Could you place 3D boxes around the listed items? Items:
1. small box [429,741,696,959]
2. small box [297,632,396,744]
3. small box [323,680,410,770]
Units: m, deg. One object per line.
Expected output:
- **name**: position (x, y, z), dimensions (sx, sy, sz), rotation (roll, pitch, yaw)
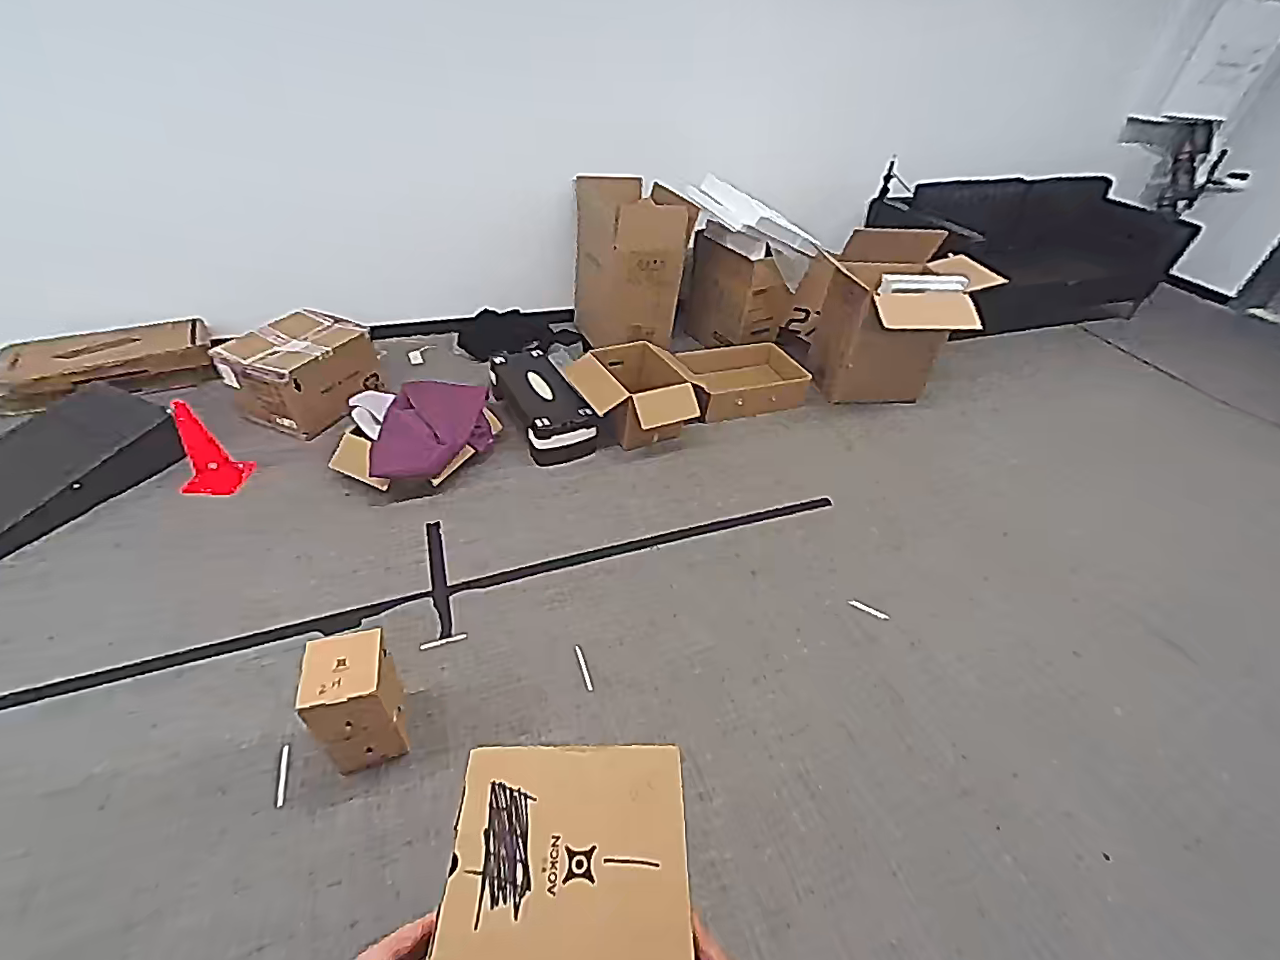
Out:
- **small box**: position (-0.051, 0.335, 0.445), dimensions (0.179, 0.176, 0.168), rotation (0, 41, -2)
- **small box**: position (-0.692, 0.497, 1.296), dimensions (0.168, 0.176, 0.179), rotation (-8, 43, -15)
- **small box**: position (-0.705, 0.624, 1.402), dimensions (0.168, 0.176, 0.179), rotation (-12, 44, -19)
